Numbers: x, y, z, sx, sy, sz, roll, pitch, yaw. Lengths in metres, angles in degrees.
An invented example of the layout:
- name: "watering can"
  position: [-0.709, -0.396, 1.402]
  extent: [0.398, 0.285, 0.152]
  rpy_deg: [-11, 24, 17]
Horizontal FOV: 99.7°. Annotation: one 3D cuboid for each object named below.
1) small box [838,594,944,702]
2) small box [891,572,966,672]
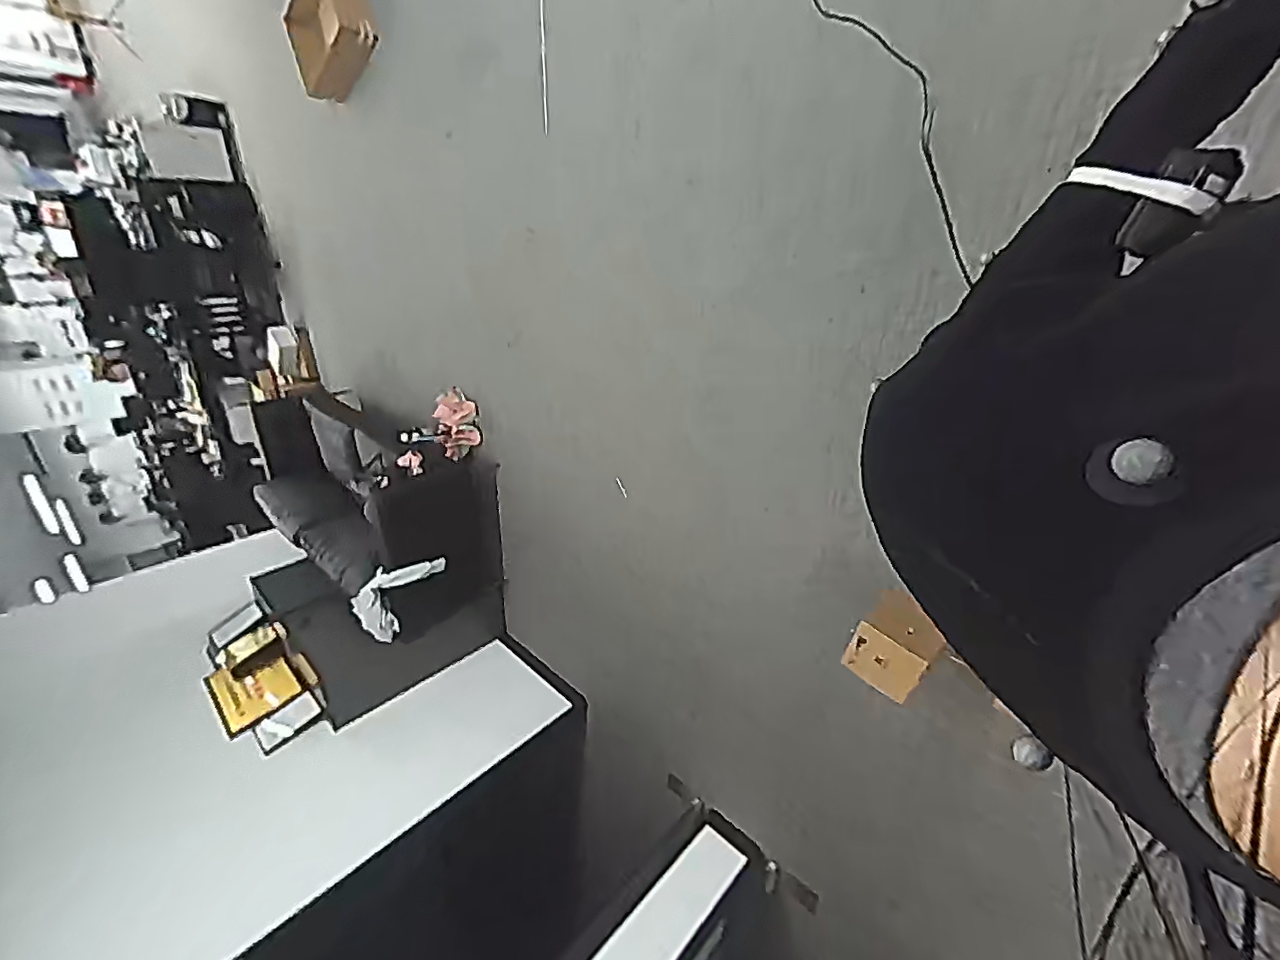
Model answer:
- name: "small box"
  position: [0.656, 0.429, 1.410]
  extent: [0.179, 0.176, 0.168]
  rpy_deg: [33, 127, 31]
- name: "small box"
  position: [0.779, 0.392, 1.513]
  extent: [0.168, 0.176, 0.179]
  rpy_deg: [33, 127, 31]
